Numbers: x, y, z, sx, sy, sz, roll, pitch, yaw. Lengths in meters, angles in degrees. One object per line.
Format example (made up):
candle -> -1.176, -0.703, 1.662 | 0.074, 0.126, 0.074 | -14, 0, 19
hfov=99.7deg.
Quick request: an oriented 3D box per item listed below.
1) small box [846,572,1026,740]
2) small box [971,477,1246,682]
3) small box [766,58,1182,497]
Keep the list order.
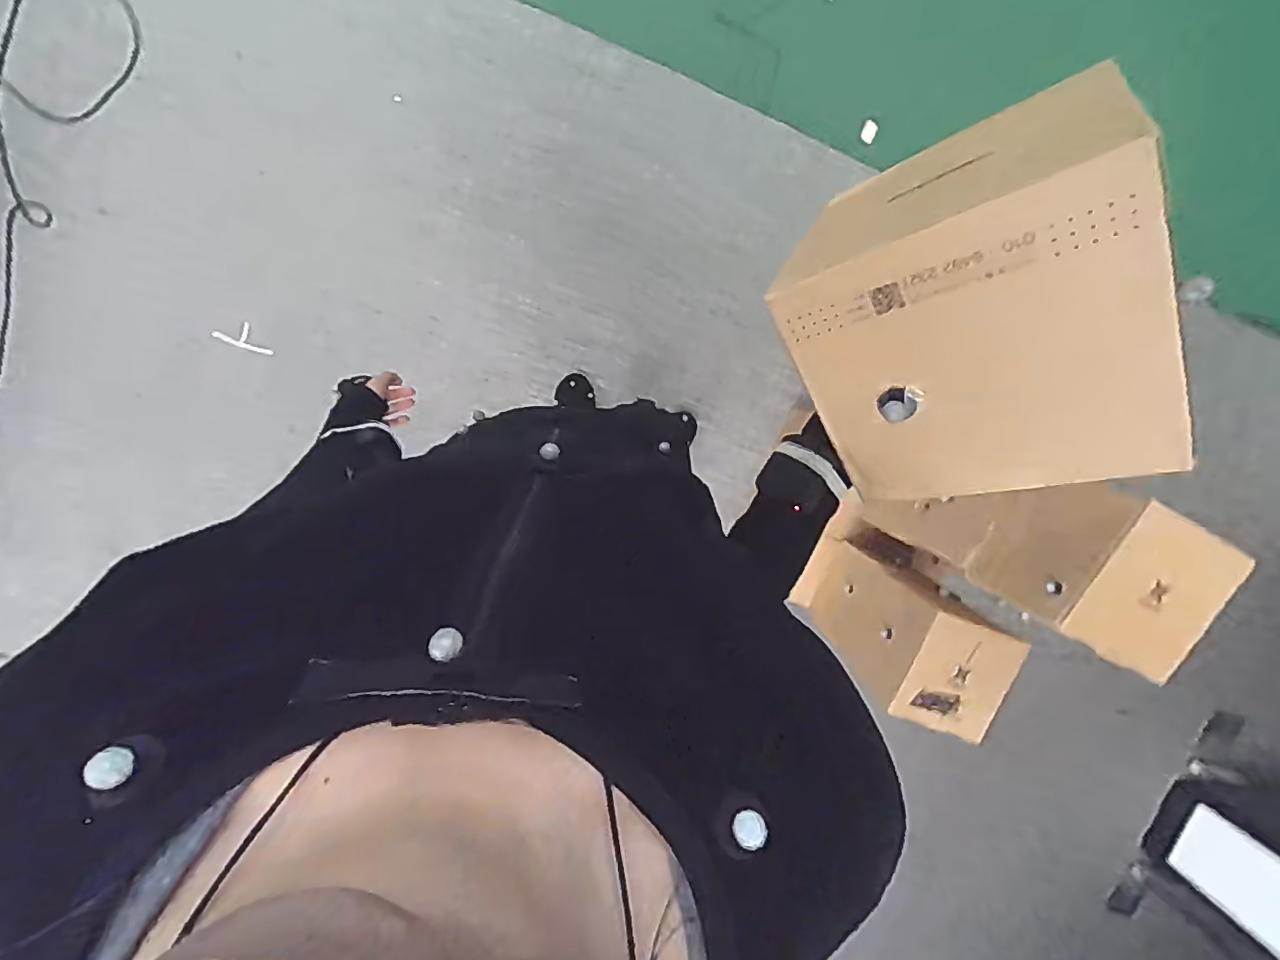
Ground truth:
small box -> 0.466, 0.278, 0.886 | 0.168, 0.176, 0.179 | 21, 98, -7
small box -> 0.579, 0.114, 0.697 | 0.168, 0.176, 0.179 | 27, 99, -9
small box -> 0.202, -0.117, 0.341 | 0.168, 0.179, 0.176 | -12, 124, 41
